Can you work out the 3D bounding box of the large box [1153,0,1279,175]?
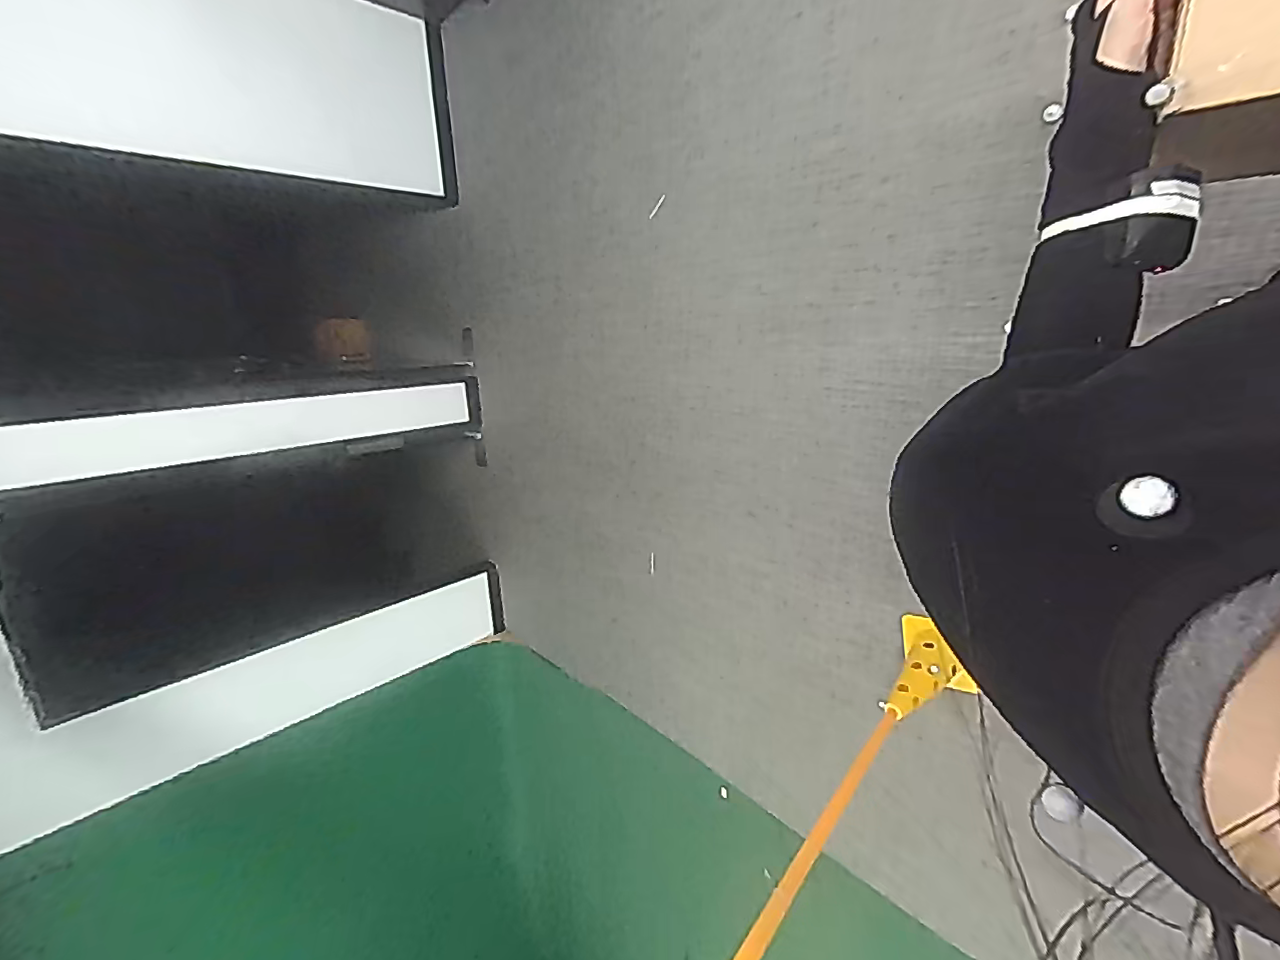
[{"bbox_3d":[0.600,-0.406,0.309,0.408,0.320,0.320,11,110,40],"label":"large box"}]
